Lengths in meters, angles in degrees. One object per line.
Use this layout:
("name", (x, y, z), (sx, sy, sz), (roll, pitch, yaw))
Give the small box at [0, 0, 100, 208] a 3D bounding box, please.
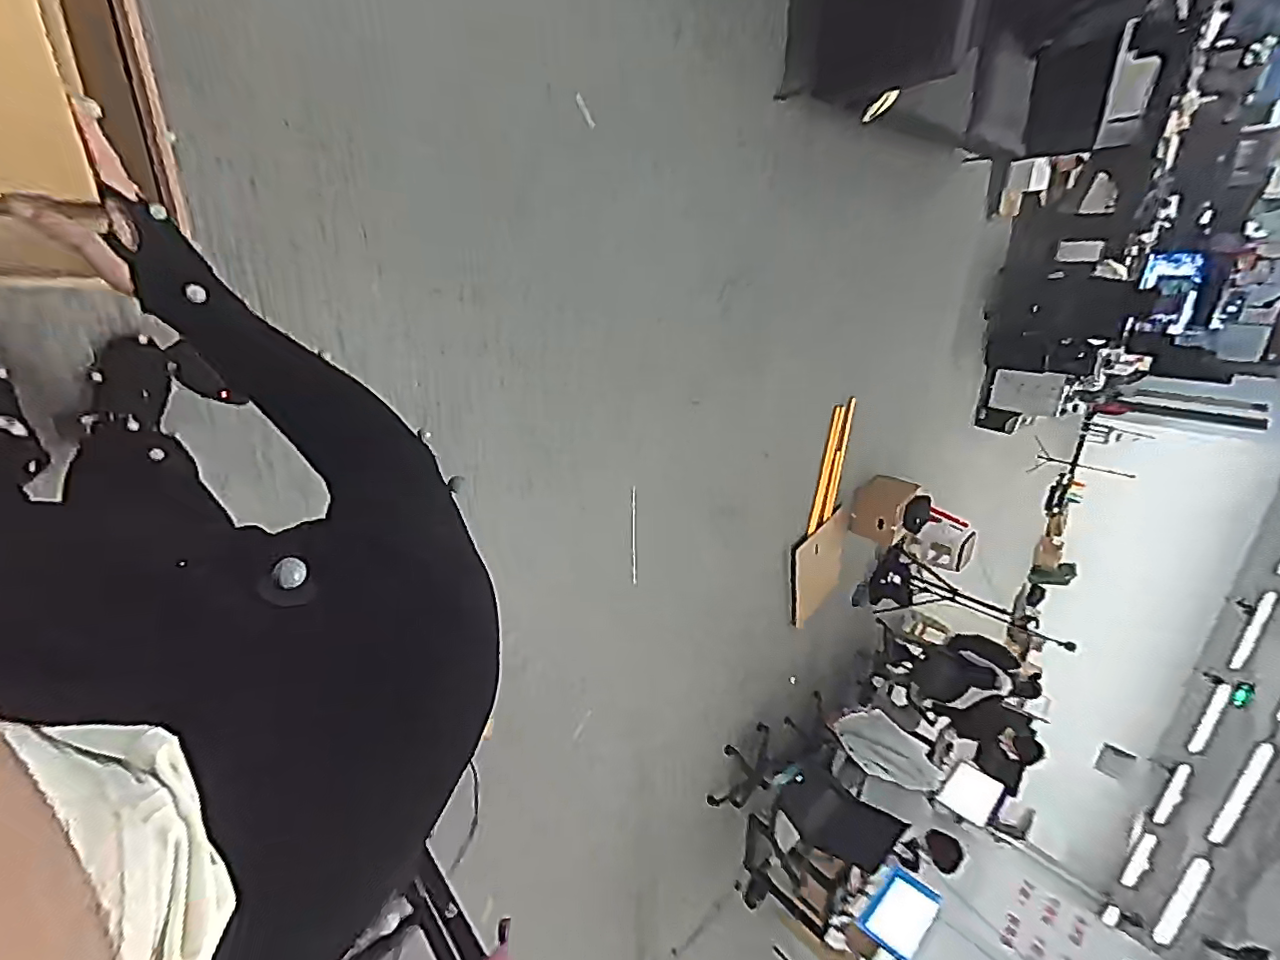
("small box", (-0.573, -0.327, 0.433), (0.168, 0.176, 0.179), (-17, 118, -38))
